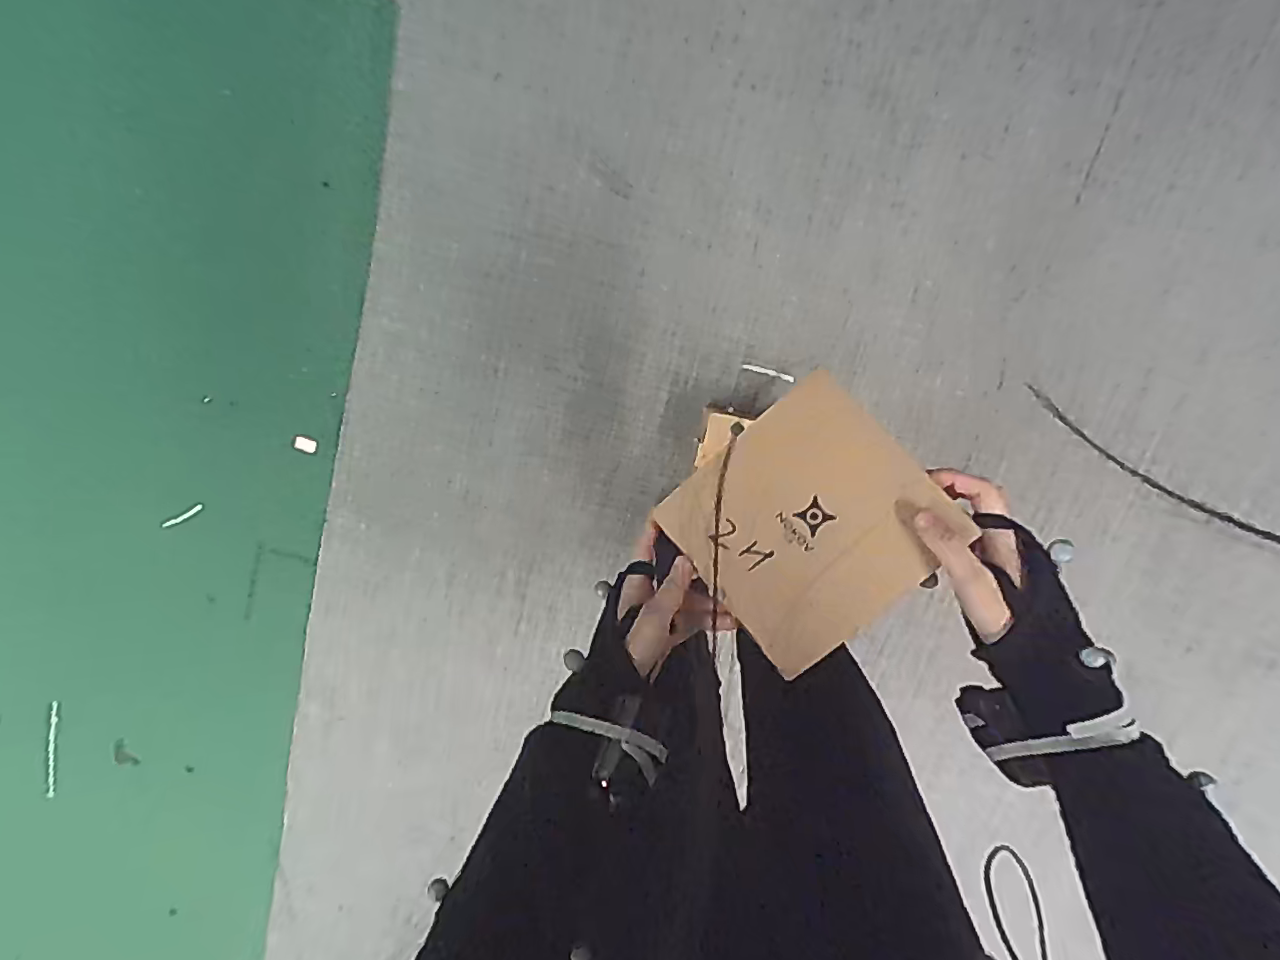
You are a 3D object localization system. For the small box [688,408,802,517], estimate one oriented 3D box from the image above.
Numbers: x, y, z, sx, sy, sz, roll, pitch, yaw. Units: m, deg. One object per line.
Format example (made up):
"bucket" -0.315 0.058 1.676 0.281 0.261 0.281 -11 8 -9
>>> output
"small box" 0.198 -0.043 1.072 0.179 0.176 0.168 13 103 3
